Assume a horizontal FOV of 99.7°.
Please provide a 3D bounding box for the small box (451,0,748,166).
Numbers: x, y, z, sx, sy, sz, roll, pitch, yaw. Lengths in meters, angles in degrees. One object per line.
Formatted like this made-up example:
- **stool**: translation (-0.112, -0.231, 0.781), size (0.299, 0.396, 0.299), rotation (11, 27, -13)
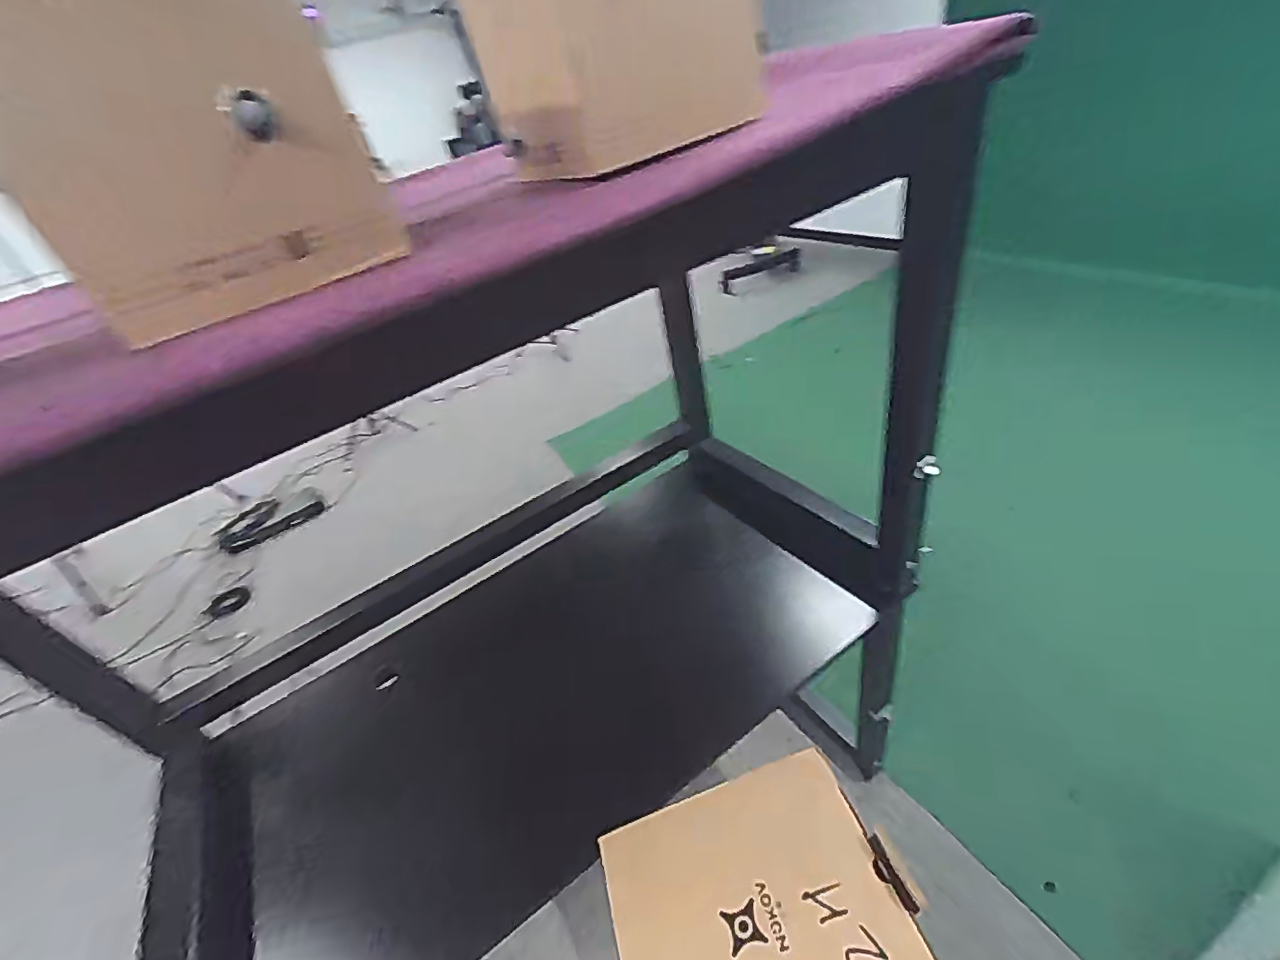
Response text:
- **small box**: translation (-0.032, -0.368, 0.440), size (0.179, 0.176, 0.168), rotation (-31, 38, -20)

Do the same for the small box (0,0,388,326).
- **small box**: translation (-0.279, -0.211, 0.331), size (0.168, 0.176, 0.179), rotation (-29, 39, -19)

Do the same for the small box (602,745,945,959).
- **small box**: translation (0.092, 0.324, 0.365), size (0.179, 0.176, 0.168), rotation (-20, 36, -3)
